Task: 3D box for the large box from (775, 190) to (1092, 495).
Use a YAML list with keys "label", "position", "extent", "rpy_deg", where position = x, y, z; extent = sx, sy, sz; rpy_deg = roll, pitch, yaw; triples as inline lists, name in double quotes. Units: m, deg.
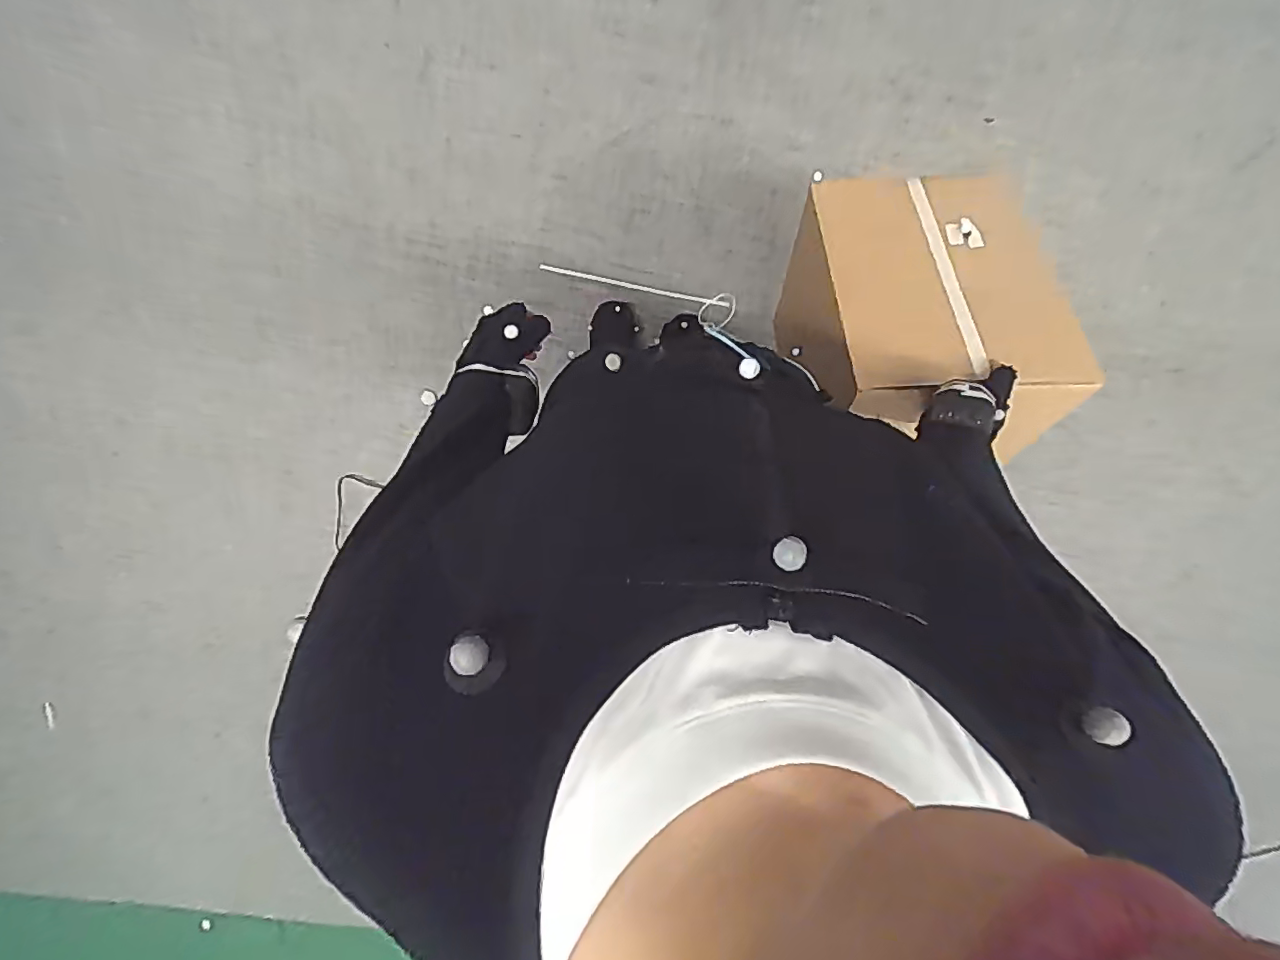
- label: "large box"
  position: [0.432, -0.219, 0.918]
  extent: [0.320, 0.408, 0.320]
  rpy_deg: [0, 153, 0]
